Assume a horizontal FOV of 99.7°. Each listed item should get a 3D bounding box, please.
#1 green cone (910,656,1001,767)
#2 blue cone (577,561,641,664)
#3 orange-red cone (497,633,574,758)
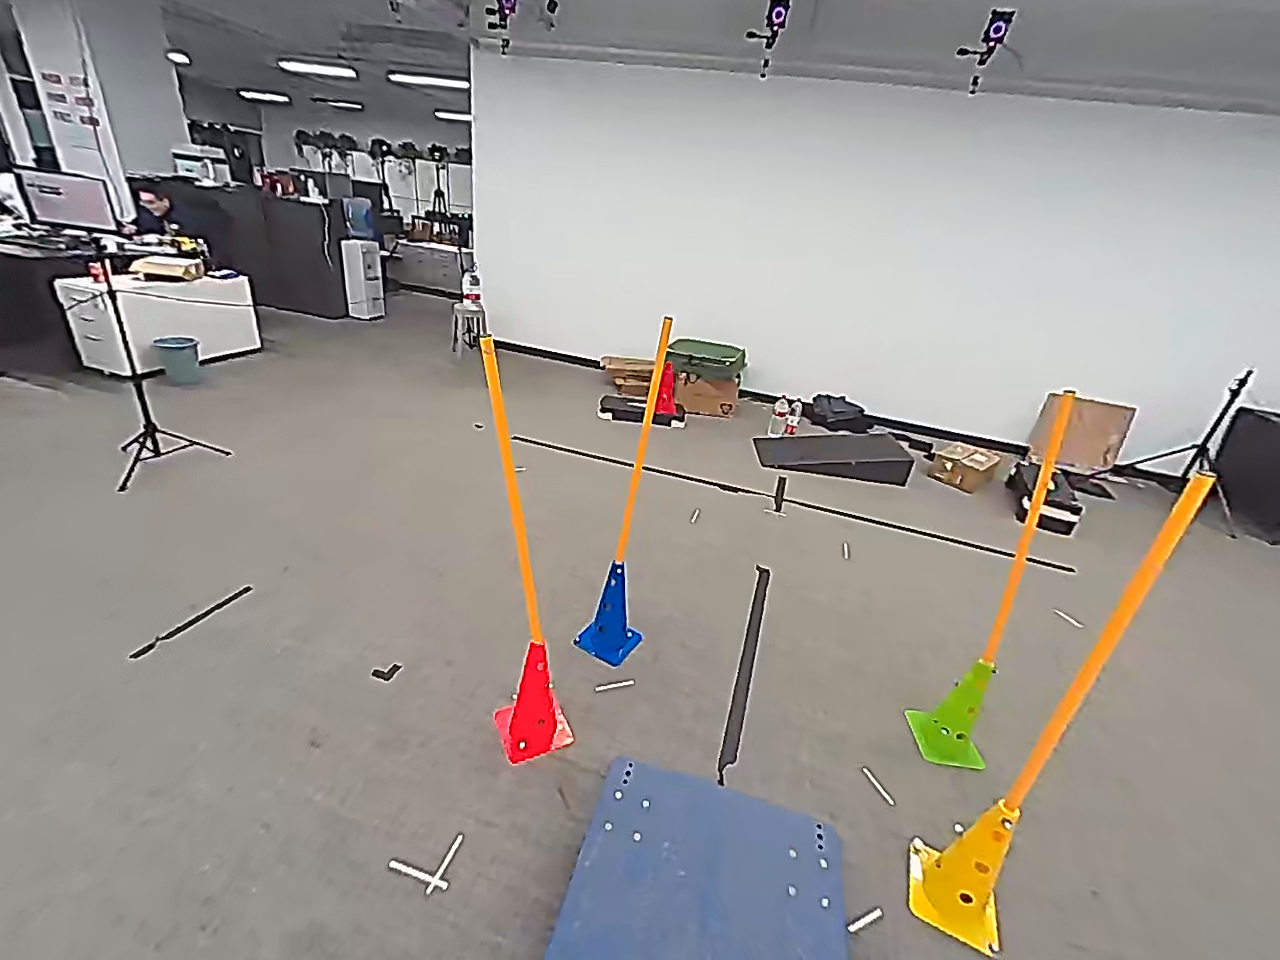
[{"bbox_3d":[1.041,0.697,1.712,0.200,0.368,0.202,8,28,0],"label":"green cone"},{"bbox_3d":[-0.092,0.447,1.936,0.193,0.380,0.192,22,31,26],"label":"blue cone"},{"bbox_3d":[-0.295,0.588,1.568,0.199,0.360,0.198,-6,30,-28],"label":"orange-red cone"}]
